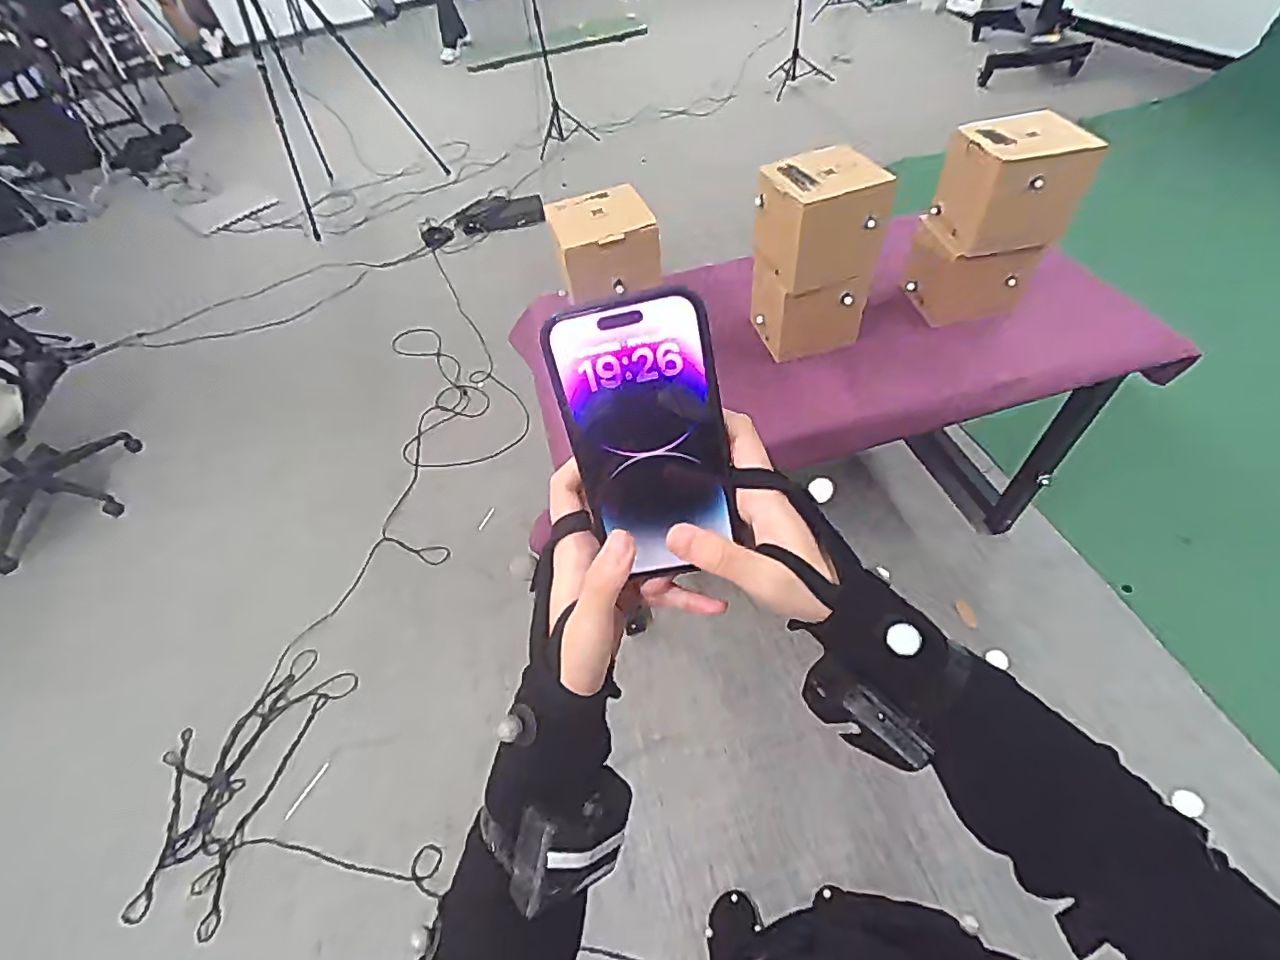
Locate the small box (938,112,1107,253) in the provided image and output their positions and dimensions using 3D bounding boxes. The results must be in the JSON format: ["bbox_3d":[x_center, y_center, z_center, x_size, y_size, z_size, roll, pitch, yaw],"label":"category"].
[{"bbox_3d":[0.672,-0.535,0.984,0.179,0.176,0.168,-9,51,1],"label":"small box"}]

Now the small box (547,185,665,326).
[{"bbox_3d":[-0.059,-0.403,0.993,0.168,0.176,0.179,-17,52,-5],"label":"small box"}]

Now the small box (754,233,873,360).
[{"bbox_3d":[0.346,-0.375,1.116,0.179,0.176,0.168,-14,51,-2],"label":"small box"}]

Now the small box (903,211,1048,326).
[{"bbox_3d":[0.680,-0.445,1.120,0.179,0.176,0.168,-9,51,2],"label":"small box"}]

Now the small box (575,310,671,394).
[{"bbox_3d":[-0.036,-0.296,1.116,0.168,0.176,0.179,-13,51,-2],"label":"small box"}]
